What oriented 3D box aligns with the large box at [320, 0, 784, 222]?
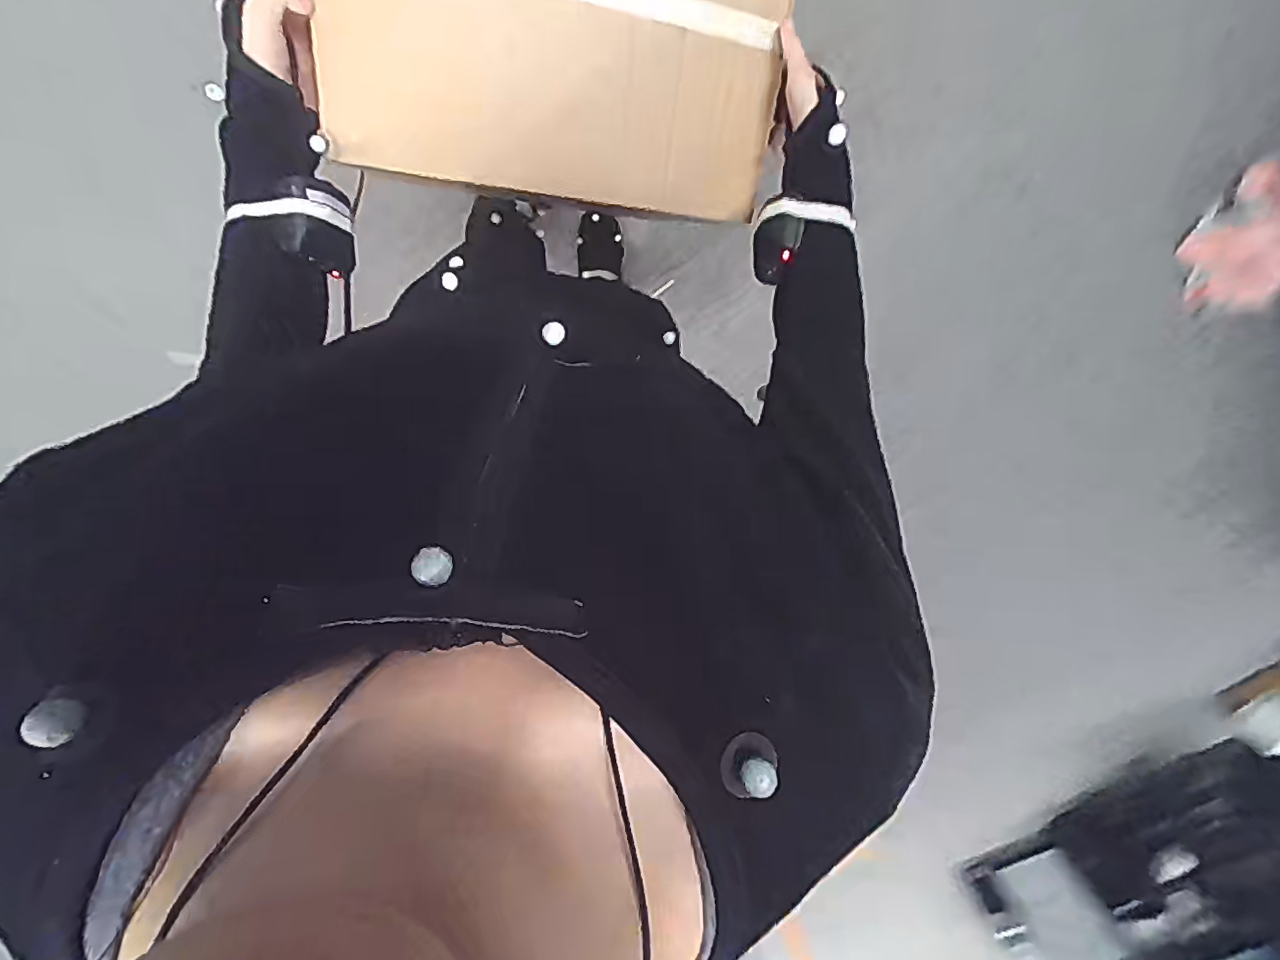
[{"bbox_3d":[-0.097,-0.477,0.595,0.408,0.320,0.320,-1,115,-17],"label":"large box"}]
